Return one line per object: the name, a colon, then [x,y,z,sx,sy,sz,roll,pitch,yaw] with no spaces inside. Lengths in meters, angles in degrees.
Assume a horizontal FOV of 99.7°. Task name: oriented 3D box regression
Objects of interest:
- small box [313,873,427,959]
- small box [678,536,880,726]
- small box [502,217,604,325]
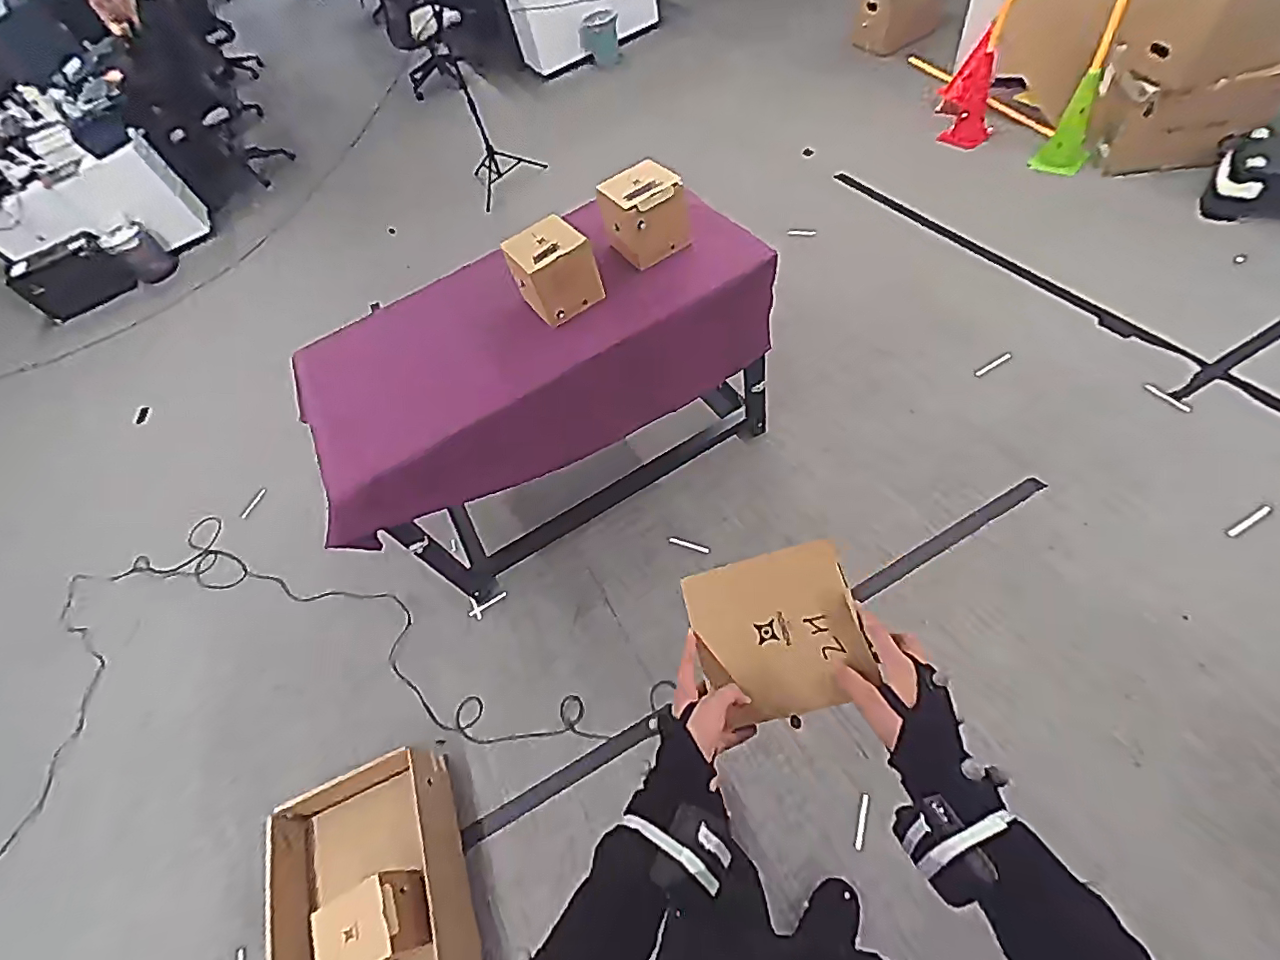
small box: [-0.621,1.050,1.262,0.179,0.176,0.168,-29,54,-6]
small box: [0.164,0.183,0.643,0.179,0.176,0.168,-19,67,12]
small box: [-0.213,-0.520,1.366,0.168,0.176,0.179,-34,55,-10]
